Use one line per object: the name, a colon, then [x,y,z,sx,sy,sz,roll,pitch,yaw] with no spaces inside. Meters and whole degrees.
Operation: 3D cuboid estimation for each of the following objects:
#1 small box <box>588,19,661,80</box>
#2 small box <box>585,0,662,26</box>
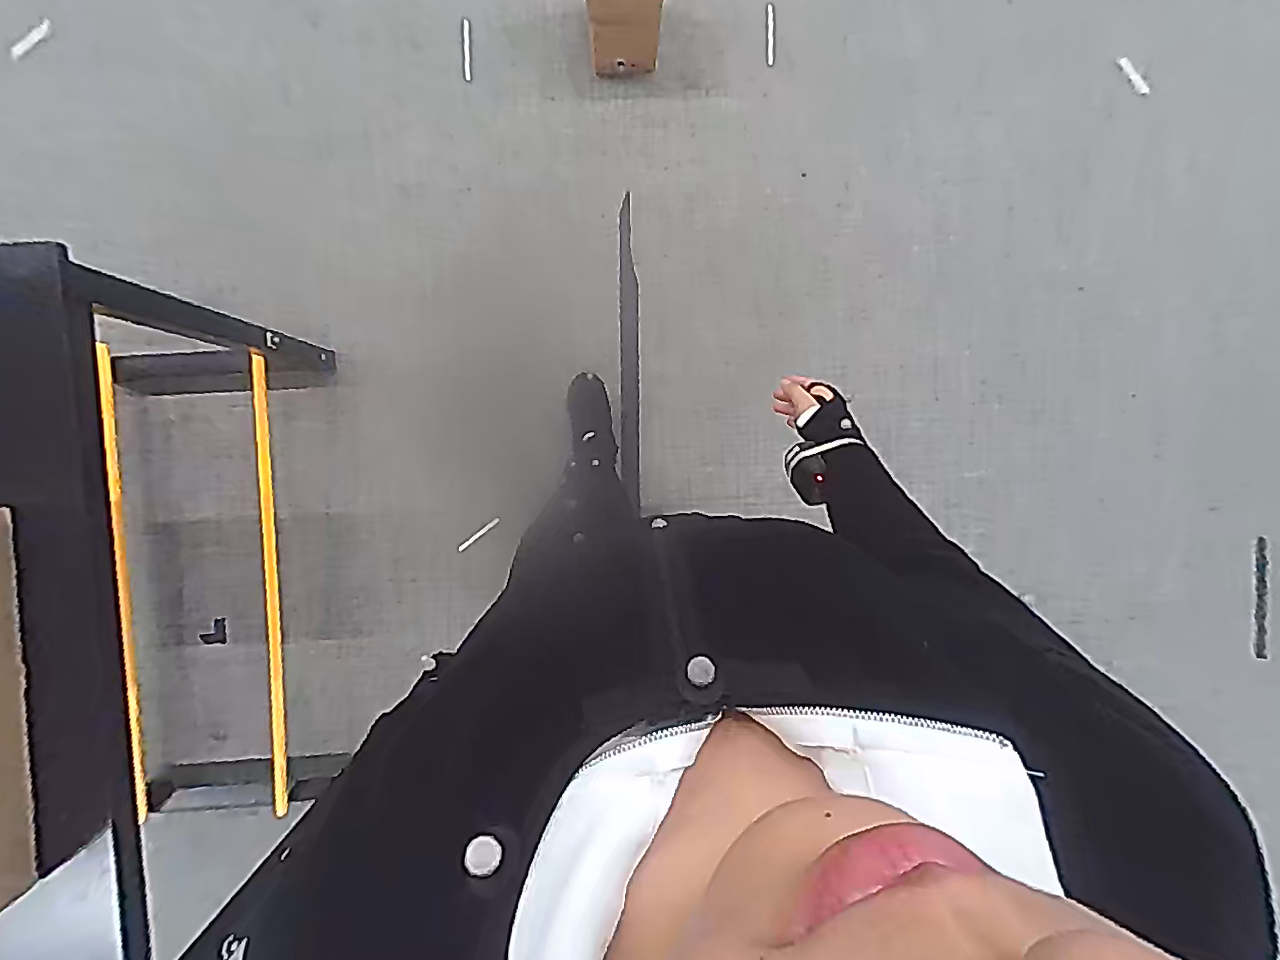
small box: [-0.044,-1.143,1.342,0.168,0.176,0.179,-7,94,-1]
small box: [-0.037,-1.136,1.177,0.179,0.176,0.168,-2,93,-2]
